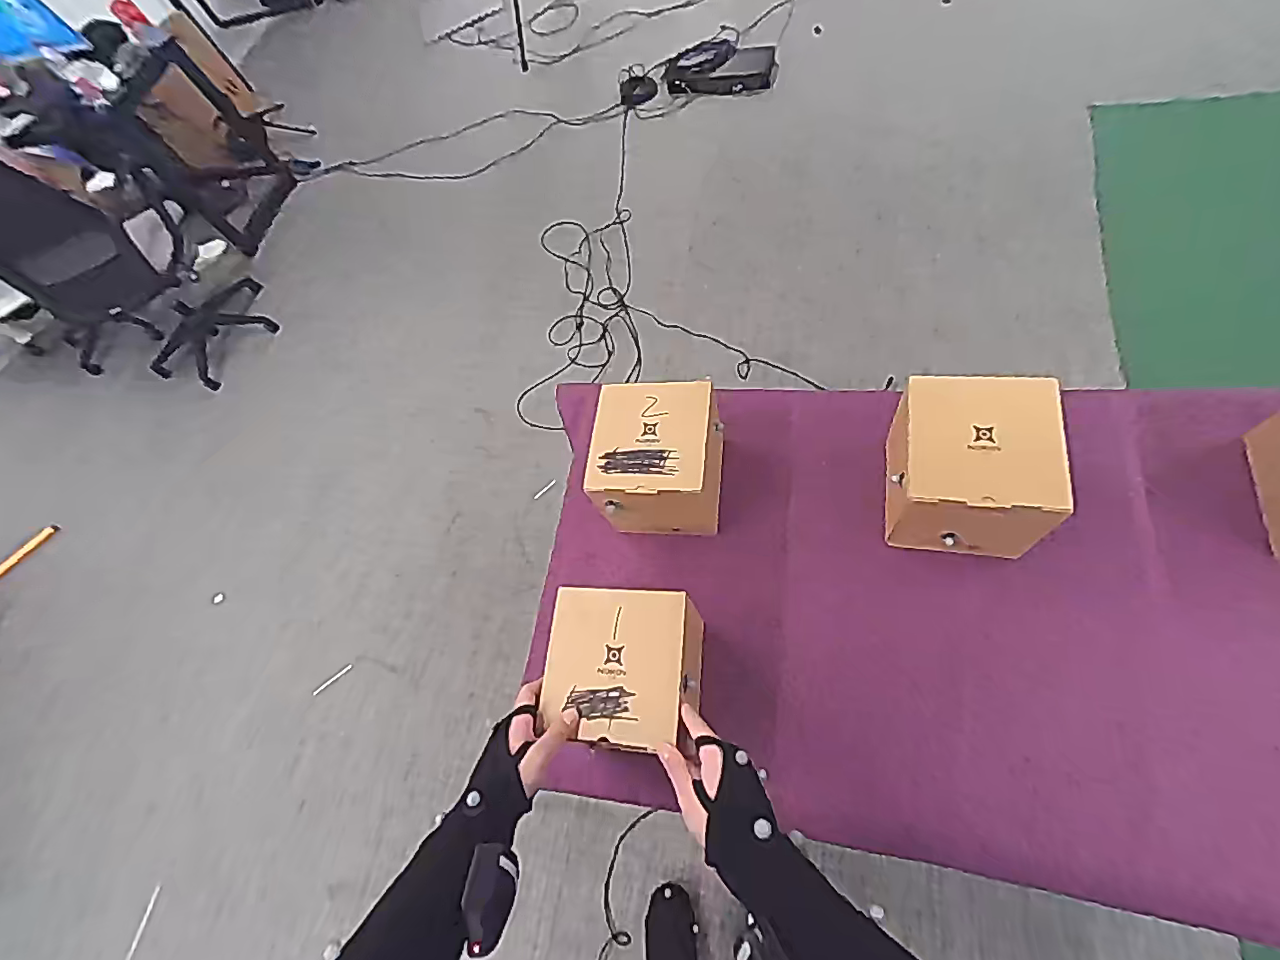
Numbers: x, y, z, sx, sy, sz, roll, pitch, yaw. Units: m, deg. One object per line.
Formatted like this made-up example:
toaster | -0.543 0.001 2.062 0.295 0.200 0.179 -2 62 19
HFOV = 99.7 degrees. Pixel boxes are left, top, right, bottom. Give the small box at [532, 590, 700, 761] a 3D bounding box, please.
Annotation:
small box | -0.017 0.252 0.692 0.168 0.176 0.179 0 63 14

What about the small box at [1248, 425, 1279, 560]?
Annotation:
small box | 0.838 0.002 0.592 0.168 0.176 0.179 5 67 19

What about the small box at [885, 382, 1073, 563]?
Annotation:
small box | 0.425 -0.007 0.709 0.168 0.176 0.179 5 67 16
